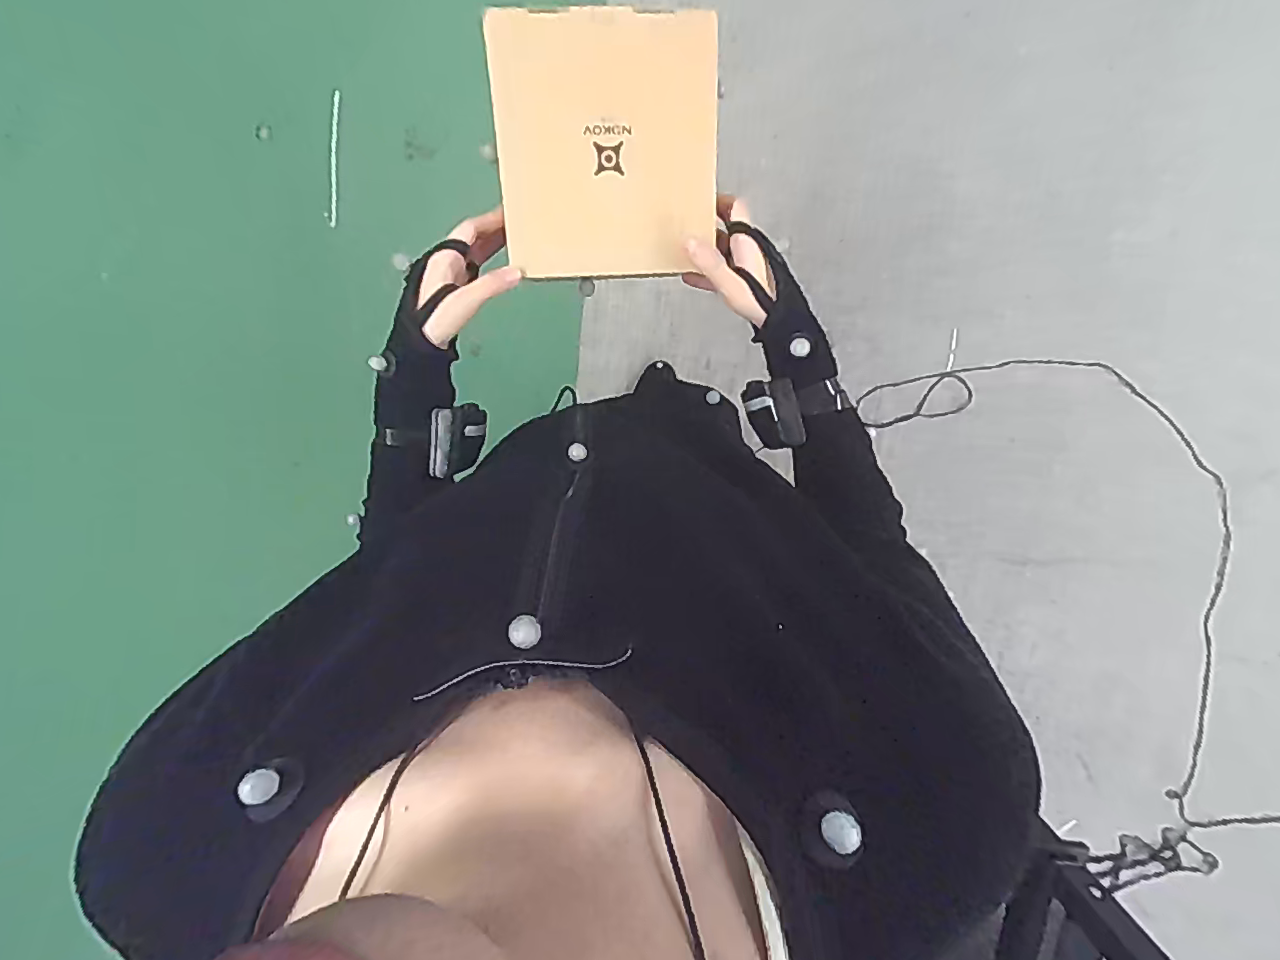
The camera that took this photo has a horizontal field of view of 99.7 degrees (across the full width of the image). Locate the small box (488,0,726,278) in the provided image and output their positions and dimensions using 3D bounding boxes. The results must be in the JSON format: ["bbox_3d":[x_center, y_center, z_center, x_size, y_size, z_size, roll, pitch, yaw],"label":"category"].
[{"bbox_3d":[-0.026,-0.271,0.470,0.168,0.176,0.179,-4,108,-5],"label":"small box"}]
